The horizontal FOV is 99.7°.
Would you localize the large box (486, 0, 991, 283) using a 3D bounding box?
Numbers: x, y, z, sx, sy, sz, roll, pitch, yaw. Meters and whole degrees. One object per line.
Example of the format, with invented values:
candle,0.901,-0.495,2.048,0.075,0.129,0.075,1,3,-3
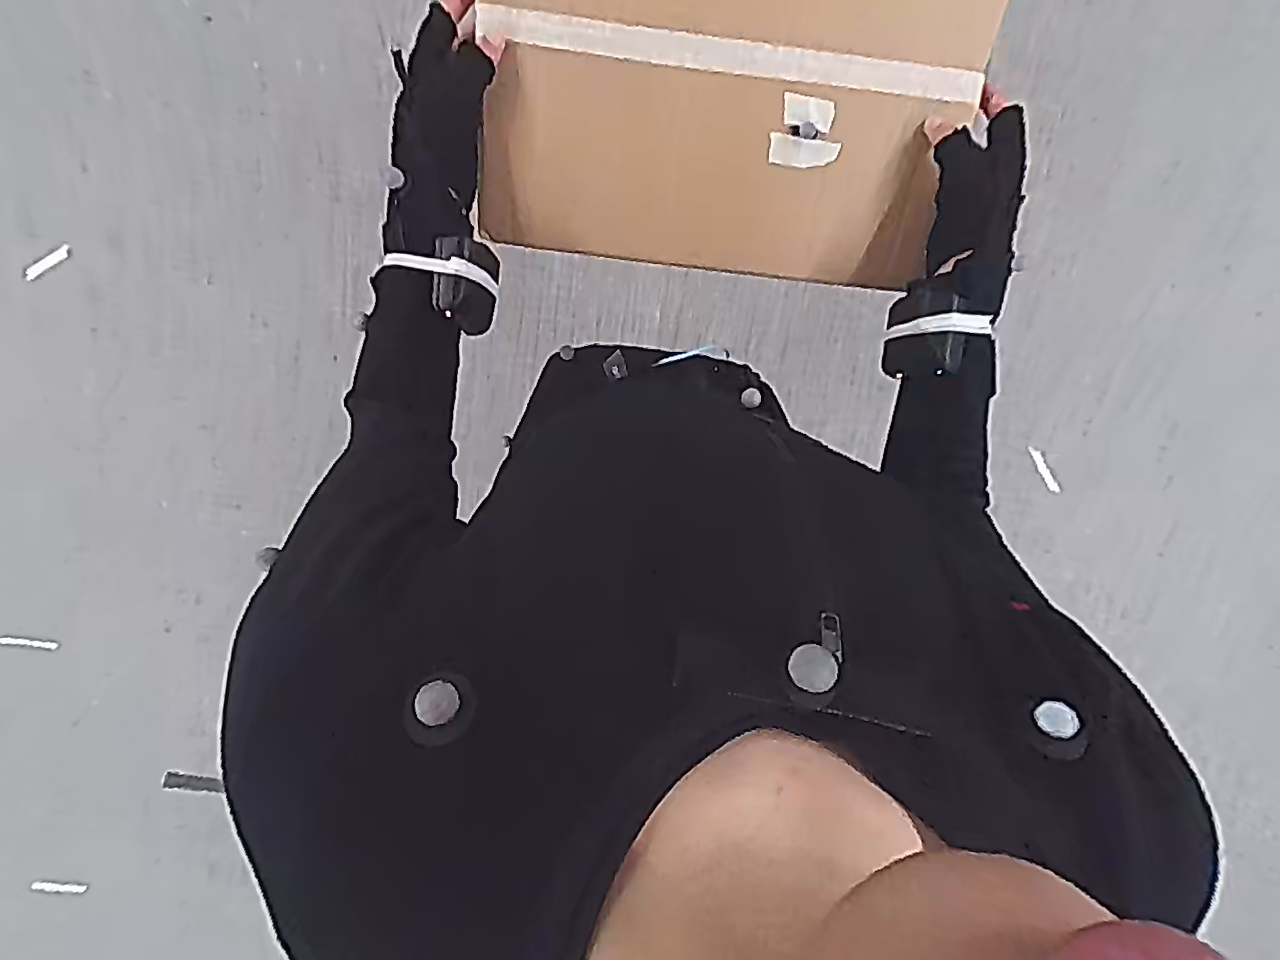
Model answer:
large box,0.069,-0.401,0.577,0.408,0.320,0.320,6,114,-4
